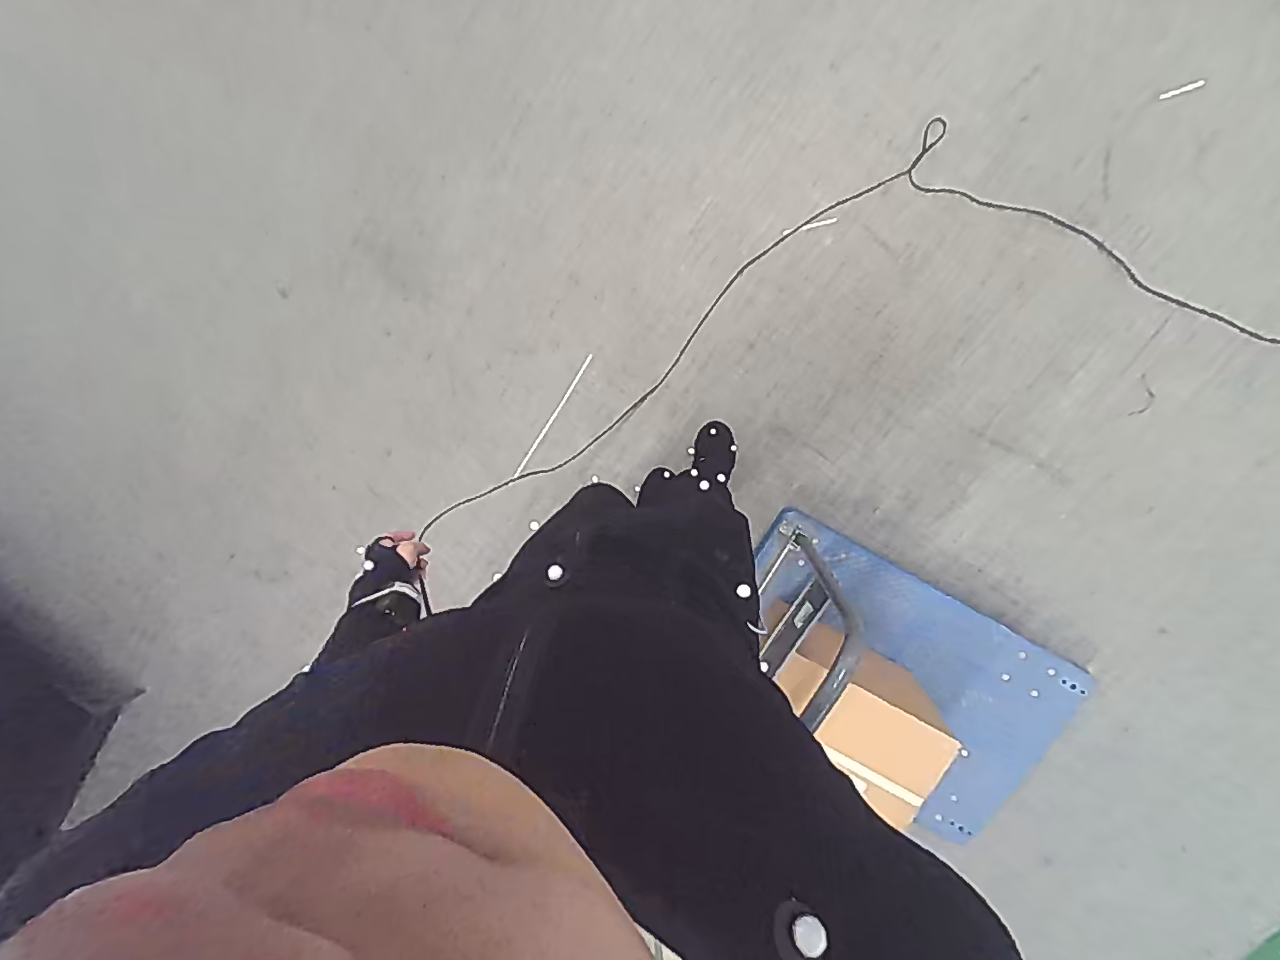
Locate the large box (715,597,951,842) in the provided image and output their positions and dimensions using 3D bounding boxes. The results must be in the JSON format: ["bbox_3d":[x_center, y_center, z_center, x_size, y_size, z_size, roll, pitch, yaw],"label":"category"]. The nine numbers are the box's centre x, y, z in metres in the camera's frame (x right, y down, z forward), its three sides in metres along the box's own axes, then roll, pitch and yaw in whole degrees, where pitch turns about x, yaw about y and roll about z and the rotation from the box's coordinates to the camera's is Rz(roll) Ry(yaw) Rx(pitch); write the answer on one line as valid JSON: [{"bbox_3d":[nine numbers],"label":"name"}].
[{"bbox_3d":[0.425,0.546,1.305,0.408,0.320,0.320,28,102,3],"label":"large box"}]
